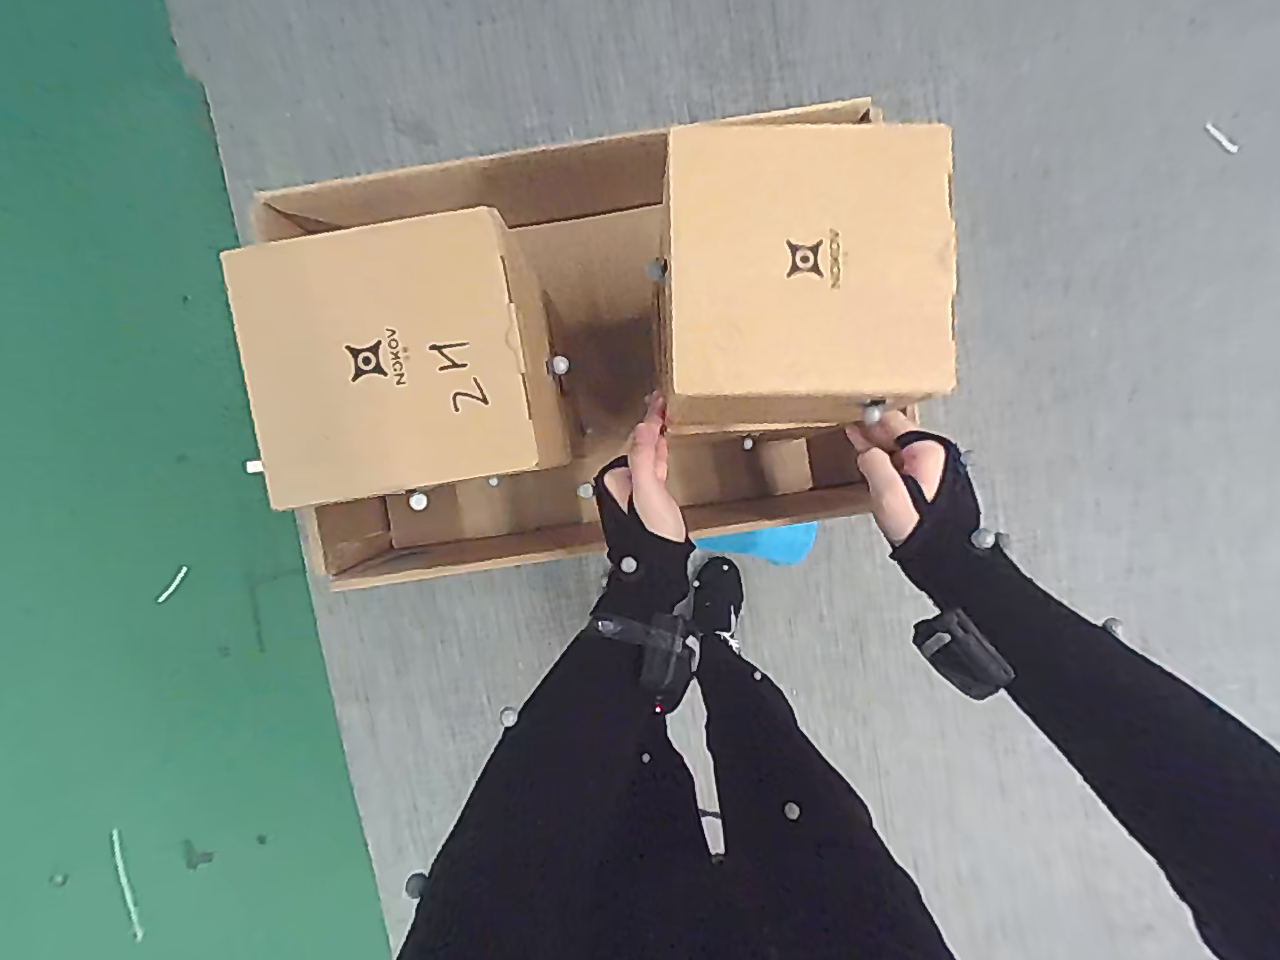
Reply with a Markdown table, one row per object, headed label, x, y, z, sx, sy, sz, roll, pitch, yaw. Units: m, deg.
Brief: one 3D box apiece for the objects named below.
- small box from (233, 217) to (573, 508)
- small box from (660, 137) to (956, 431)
| label | x | y | z | sx | sy | sz | roll | pitch | yaw |
| --- | --- | --- | --- | --- | --- | --- | --- | --- | --- |
| small box | -0.159 | -0.075 | 0.420 | 0.179 | 0.176 | 0.168 | -9 | 93 | 1 |
| small box | 0.105 | -0.126 | 0.410 | 0.179 | 0.176 | 0.168 | -1 | 90 | -2 |
